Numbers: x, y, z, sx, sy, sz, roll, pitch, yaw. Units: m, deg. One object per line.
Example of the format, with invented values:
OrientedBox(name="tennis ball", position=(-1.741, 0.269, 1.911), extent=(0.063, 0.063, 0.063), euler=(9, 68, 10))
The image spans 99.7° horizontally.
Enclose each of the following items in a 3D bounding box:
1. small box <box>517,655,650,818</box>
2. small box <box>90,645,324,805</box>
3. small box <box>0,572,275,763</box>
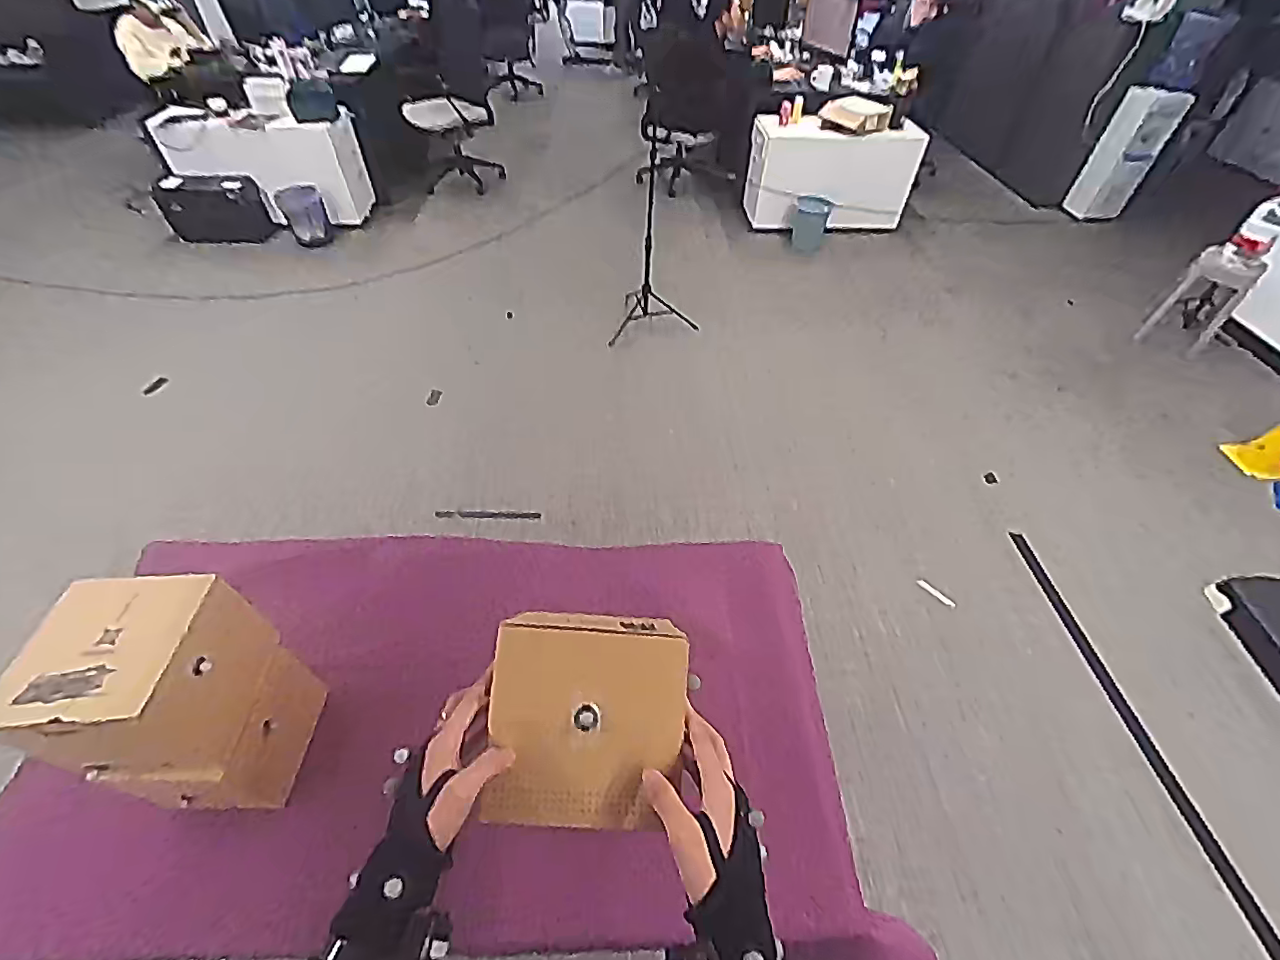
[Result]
OrientedBox(name="small box", position=(-0.070, 0.372, 0.778), extent=(0.168, 0.176, 0.179), euler=(2, 47, 0))
OrientedBox(name="small box", position=(-0.589, 0.349, 0.772), extent=(0.168, 0.176, 0.179), euler=(3, 48, -1))
OrientedBox(name="small box", position=(-0.588, 0.231, 0.657), extent=(0.168, 0.176, 0.179), euler=(-1, 48, -4))
